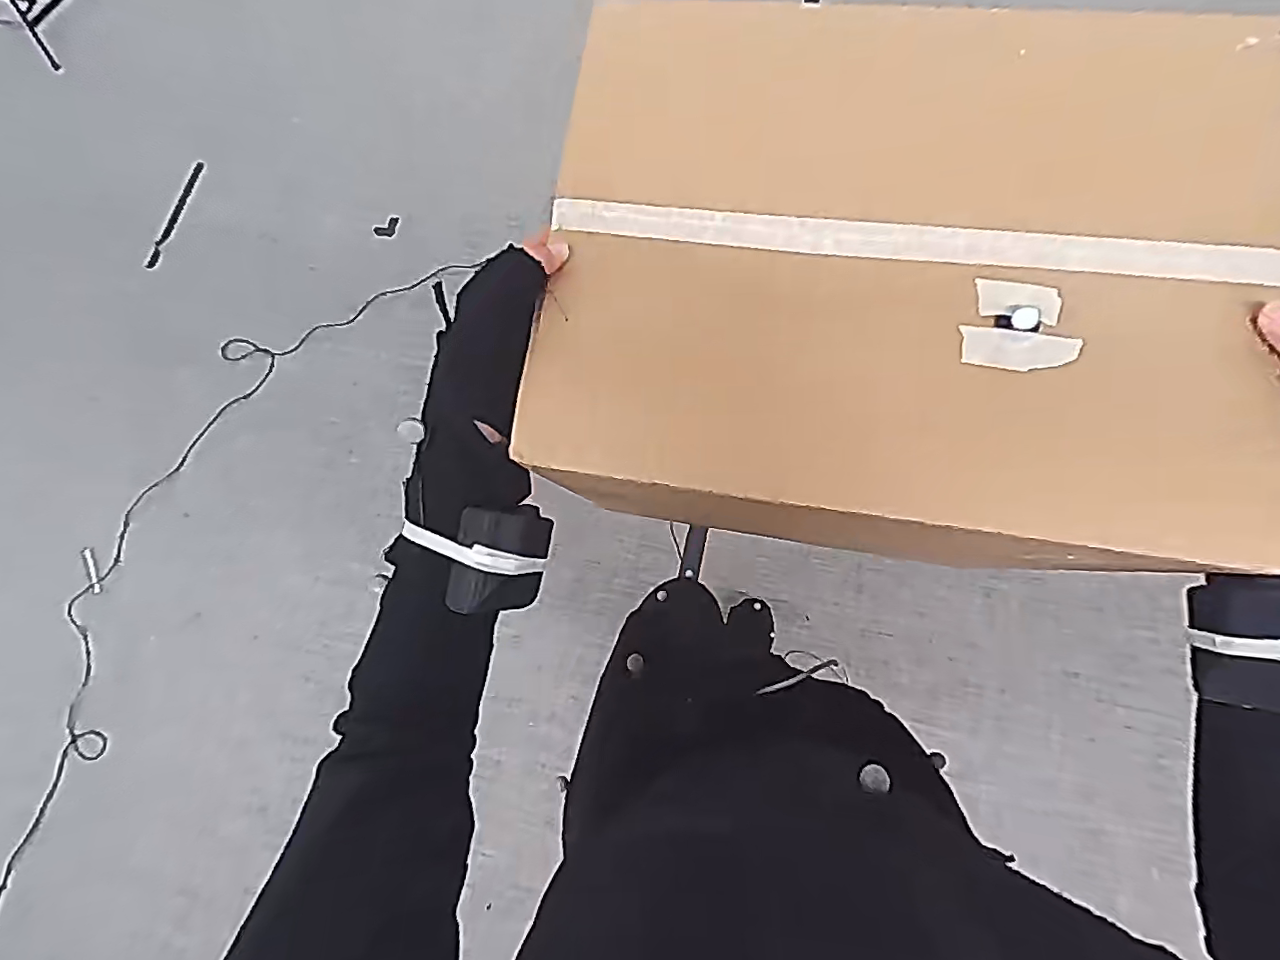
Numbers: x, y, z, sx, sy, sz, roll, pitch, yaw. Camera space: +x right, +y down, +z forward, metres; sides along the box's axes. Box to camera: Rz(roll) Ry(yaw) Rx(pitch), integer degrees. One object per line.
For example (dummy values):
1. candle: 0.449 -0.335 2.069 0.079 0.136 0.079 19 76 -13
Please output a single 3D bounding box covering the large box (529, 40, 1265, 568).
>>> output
1. large box: 0.160 -0.105 0.470 0.408 0.320 0.320 8 83 7
